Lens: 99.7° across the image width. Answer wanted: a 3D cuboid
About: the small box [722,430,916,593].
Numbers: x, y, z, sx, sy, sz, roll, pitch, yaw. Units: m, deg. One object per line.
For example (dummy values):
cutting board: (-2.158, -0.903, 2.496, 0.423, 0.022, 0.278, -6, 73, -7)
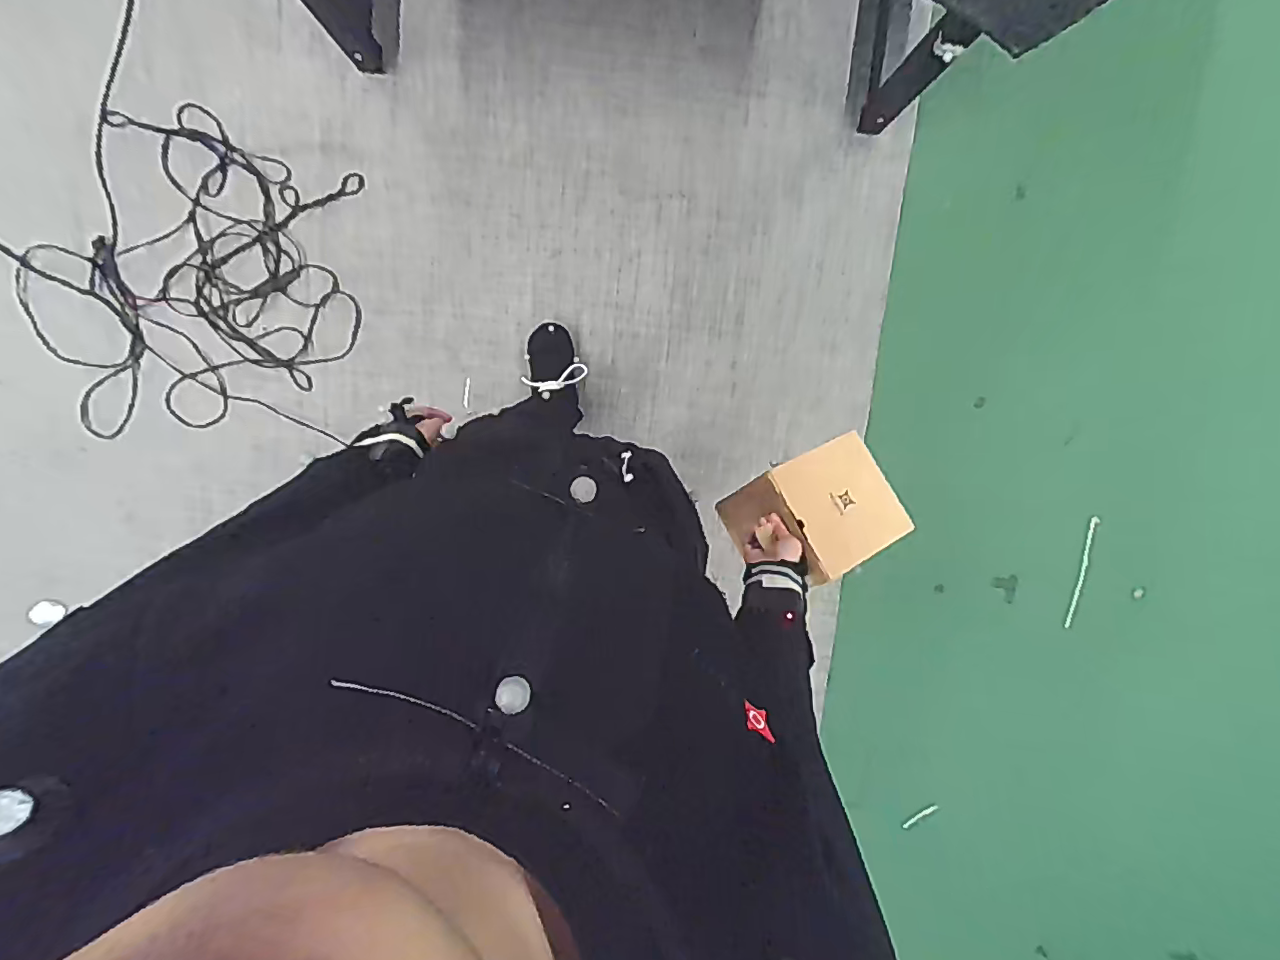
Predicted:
small box: (0.255, 0.052, 0.805, 0.179, 0.176, 0.168, -25, 81, -23)
